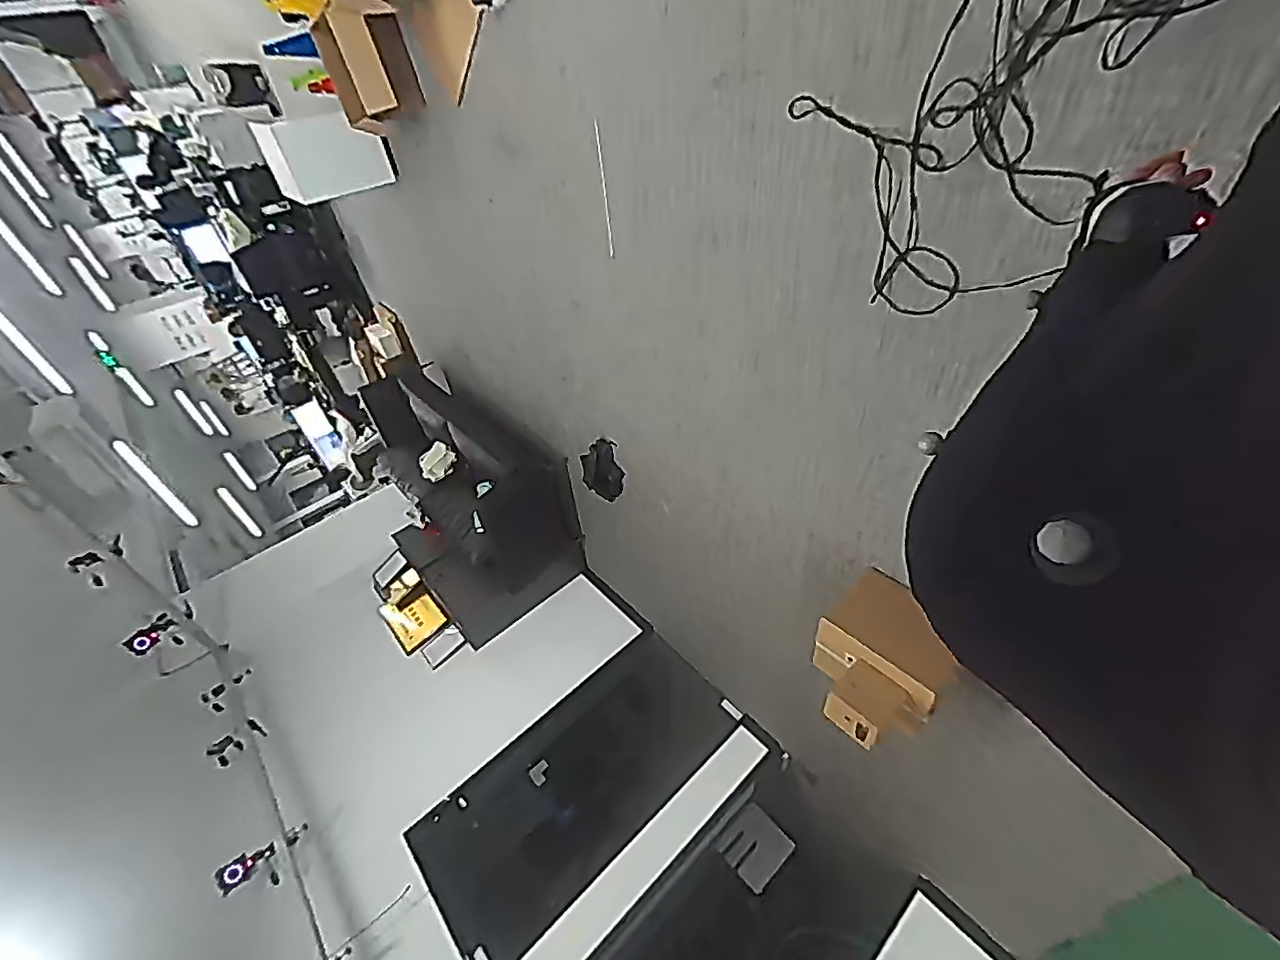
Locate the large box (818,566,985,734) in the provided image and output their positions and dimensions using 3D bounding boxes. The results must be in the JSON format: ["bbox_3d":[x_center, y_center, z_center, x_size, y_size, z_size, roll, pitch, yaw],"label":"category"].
[{"bbox_3d":[0.897,0.582,1.893,0.408,0.320,0.320,35,146,39],"label":"large box"}]
